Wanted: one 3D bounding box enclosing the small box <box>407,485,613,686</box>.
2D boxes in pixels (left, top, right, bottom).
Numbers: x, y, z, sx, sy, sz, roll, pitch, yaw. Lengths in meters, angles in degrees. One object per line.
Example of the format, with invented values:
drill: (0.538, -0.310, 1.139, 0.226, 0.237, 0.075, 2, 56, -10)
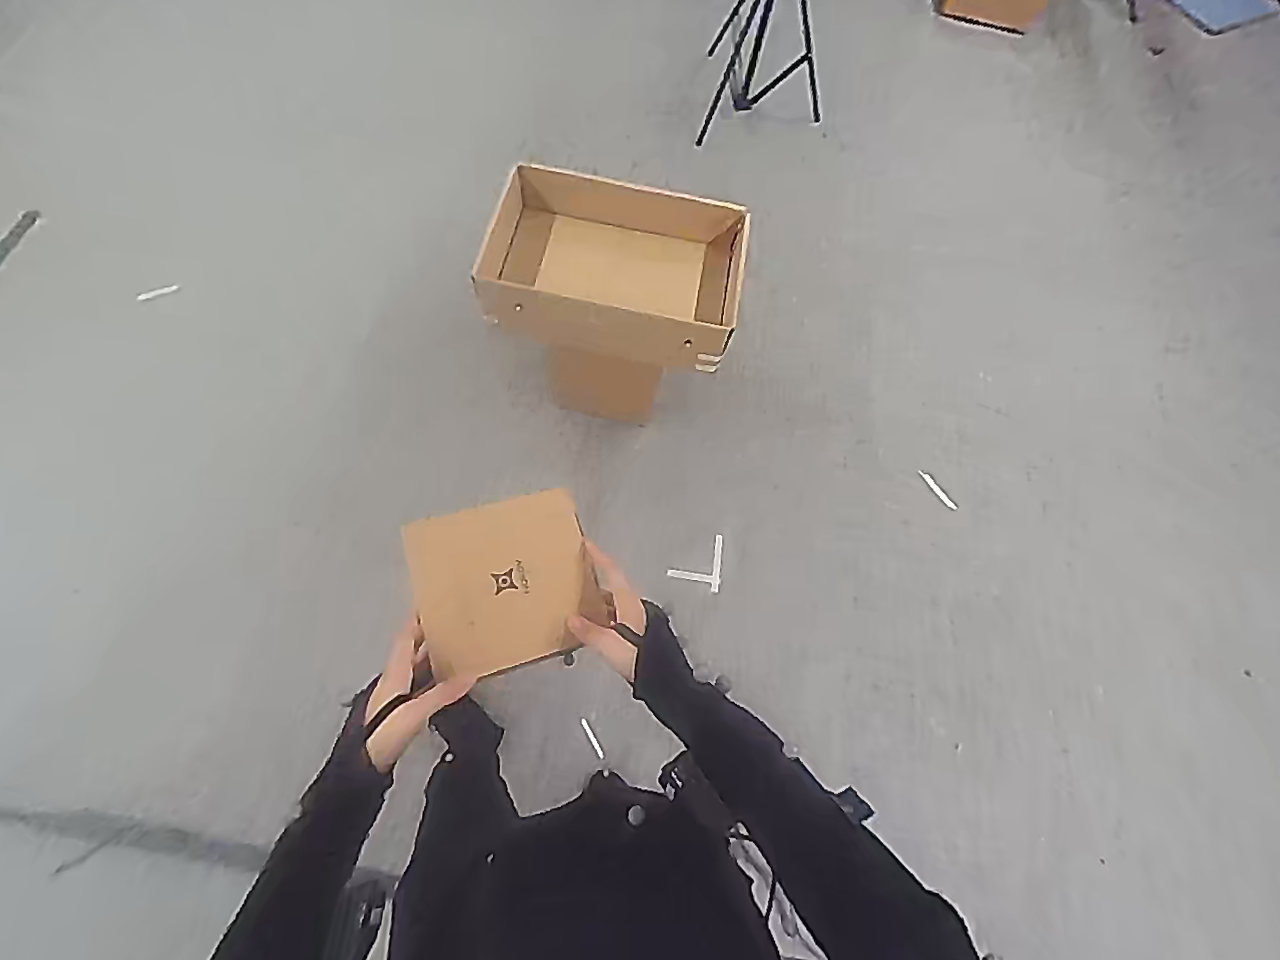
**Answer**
small box: (-0.147, 0.123, 0.615, 0.179, 0.176, 0.168, -14, 73, -17)
